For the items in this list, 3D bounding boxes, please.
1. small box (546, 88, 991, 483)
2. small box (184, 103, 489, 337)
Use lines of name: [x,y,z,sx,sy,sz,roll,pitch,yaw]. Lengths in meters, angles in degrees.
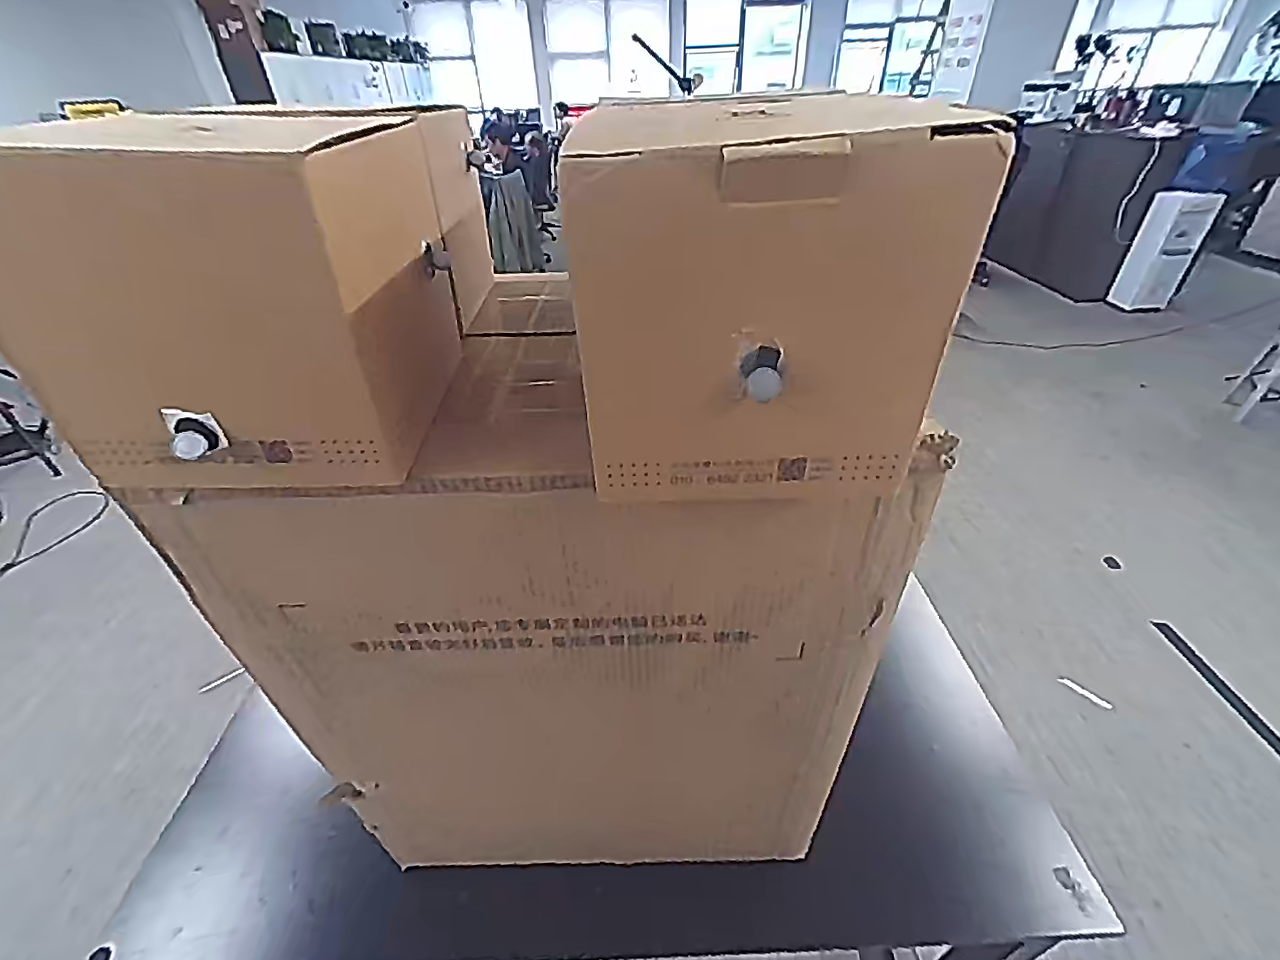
small box: [0.052,-0.109,0.309,0.168,0.176,0.179,-2,38,2]
small box: [-0.243,-0.239,0.493,0.168,0.176,0.179,-3,35,-2]
